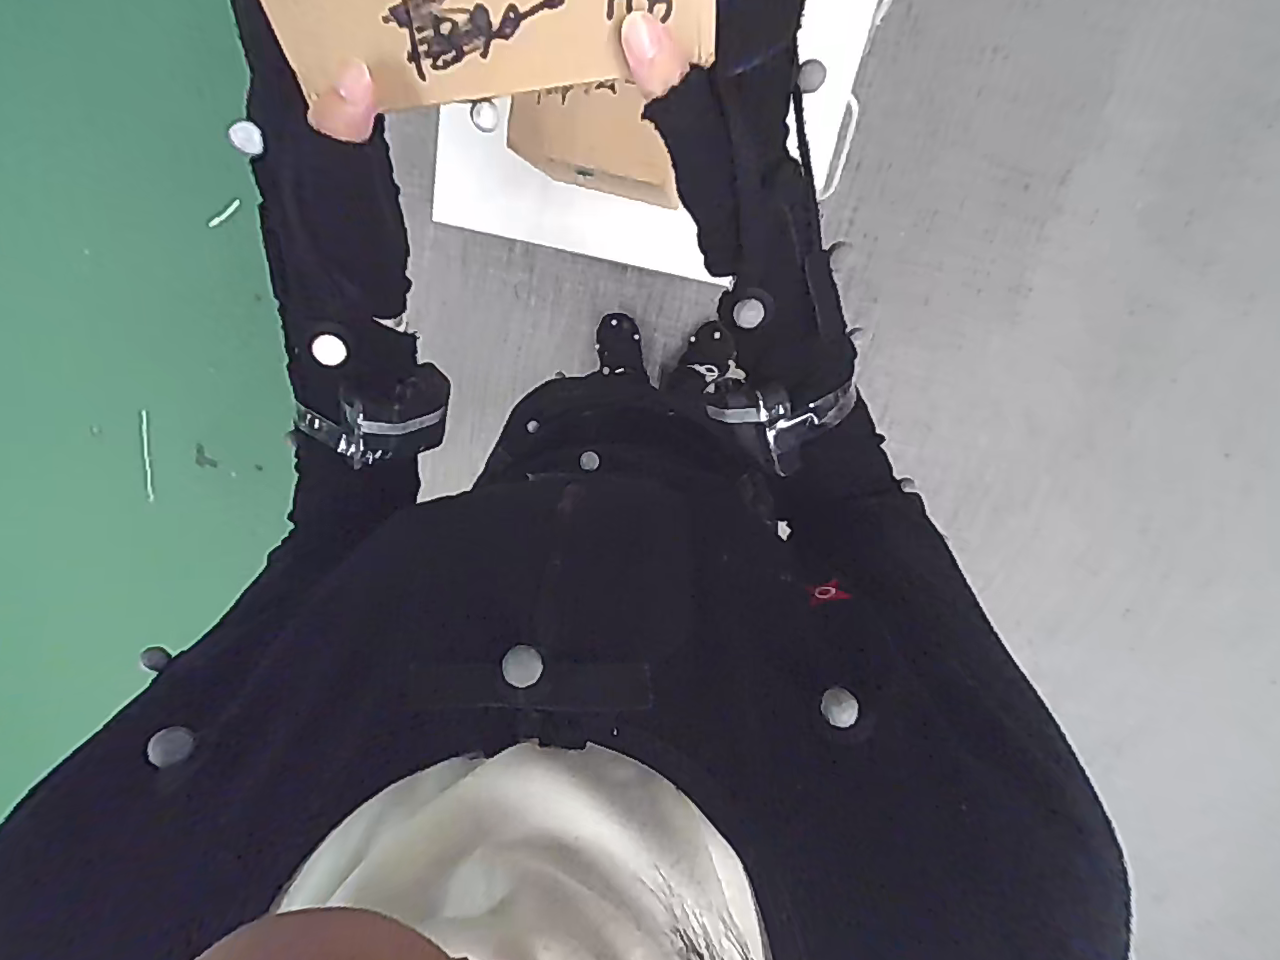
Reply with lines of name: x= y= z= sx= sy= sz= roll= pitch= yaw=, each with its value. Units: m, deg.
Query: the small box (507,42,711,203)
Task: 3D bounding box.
small box: x=-0.026 y=-0.432 z=0.615 sx=0.179 sy=0.176 sz=0.168 roll=16 pitch=110 yaw=3

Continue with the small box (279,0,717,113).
small box: x=-0.066 y=-0.281 z=0.222 sx=0.168 sy=0.176 sz=0.179 roll=-8 pitch=134 yaw=5
